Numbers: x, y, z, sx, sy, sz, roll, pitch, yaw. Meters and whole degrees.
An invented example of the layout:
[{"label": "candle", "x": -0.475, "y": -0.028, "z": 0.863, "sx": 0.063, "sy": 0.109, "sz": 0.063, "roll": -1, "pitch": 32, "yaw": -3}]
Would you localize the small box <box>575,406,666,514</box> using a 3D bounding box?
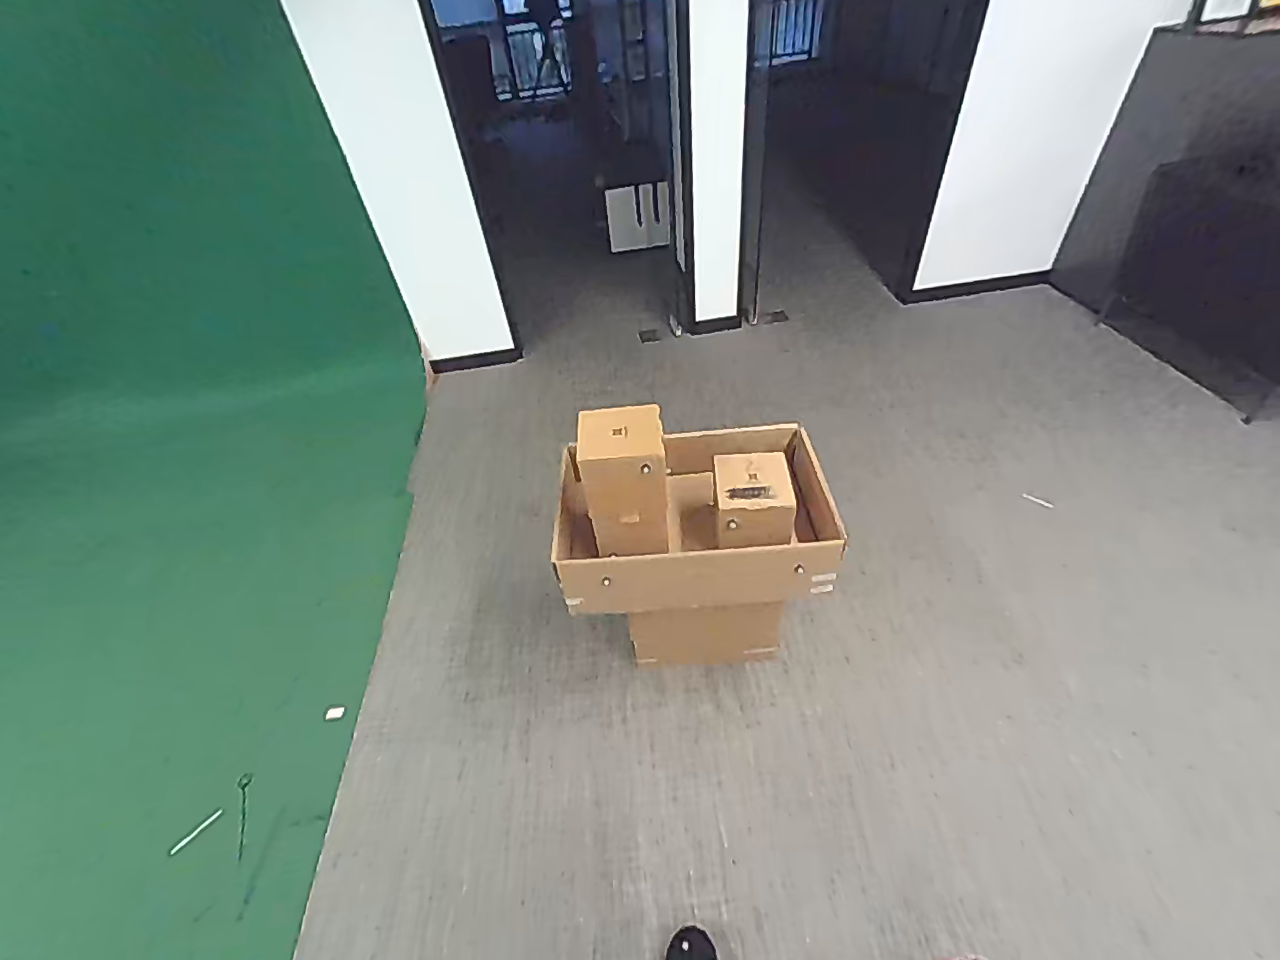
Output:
[{"label": "small box", "x": -0.038, "y": -0.040, "z": 1.164, "sx": 0.179, "sy": 0.176, "sz": 0.168, "roll": -4, "pitch": 44, "yaw": 0}]
